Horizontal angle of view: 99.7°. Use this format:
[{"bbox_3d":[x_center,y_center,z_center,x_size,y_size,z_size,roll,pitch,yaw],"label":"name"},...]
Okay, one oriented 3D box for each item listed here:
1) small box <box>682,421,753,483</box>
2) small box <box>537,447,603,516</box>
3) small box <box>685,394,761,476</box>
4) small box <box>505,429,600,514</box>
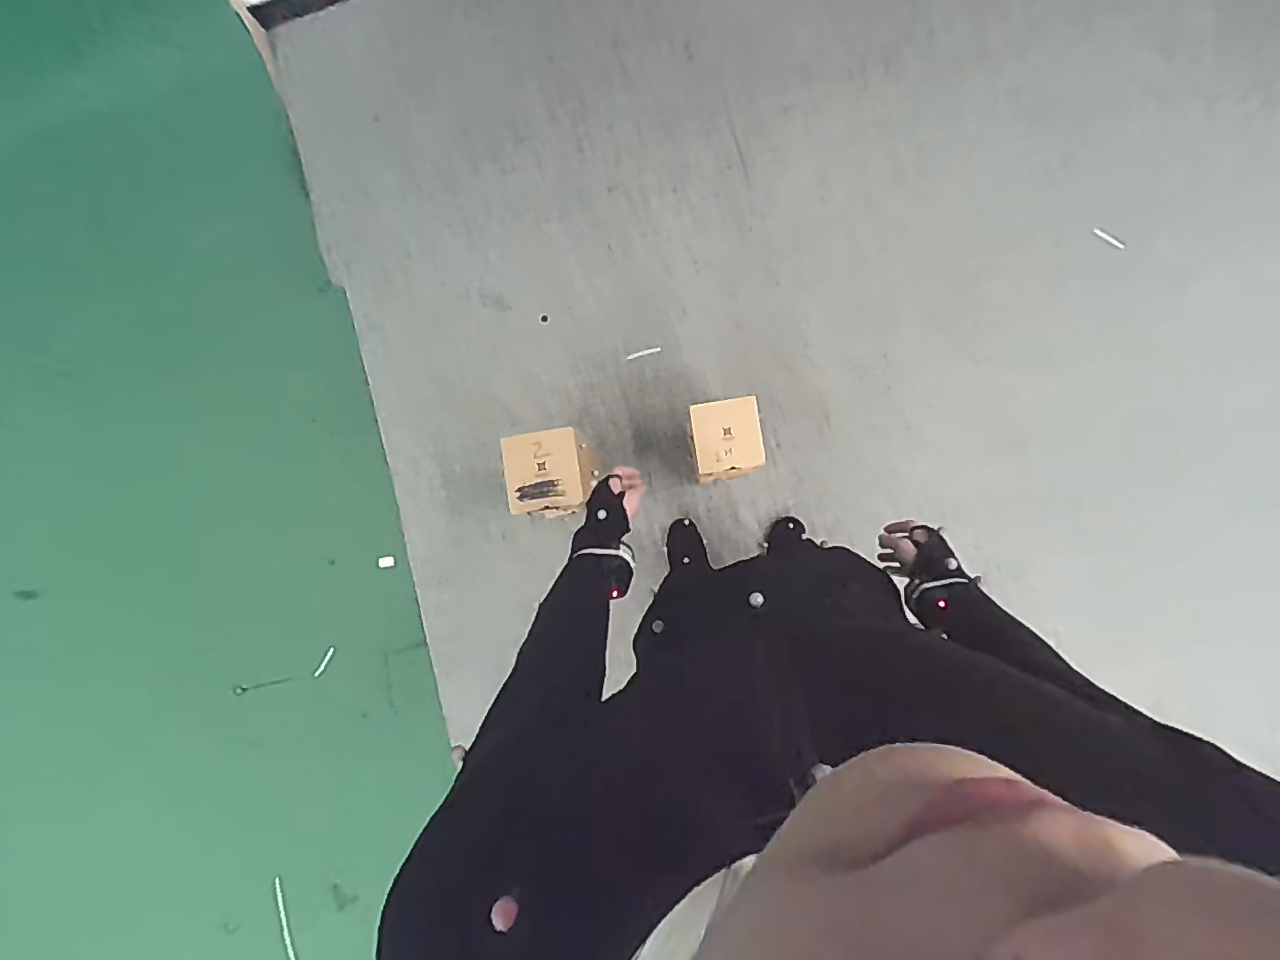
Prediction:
[{"bbox_3d":[0.219,-0.091,1.553,0.168,0.176,0.179,-12,87,2],"label":"small box"},{"bbox_3d":[-0.207,0.007,1.573,0.168,0.176,0.179,-9,86,2],"label":"small box"},{"bbox_3d":[0.207,-0.109,1.389,0.168,0.176,0.179,-8,87,4],"label":"small box"},{"bbox_3d":[-0.222,-0.018,1.420,0.179,0.176,0.168,22,90,4],"label":"small box"}]
